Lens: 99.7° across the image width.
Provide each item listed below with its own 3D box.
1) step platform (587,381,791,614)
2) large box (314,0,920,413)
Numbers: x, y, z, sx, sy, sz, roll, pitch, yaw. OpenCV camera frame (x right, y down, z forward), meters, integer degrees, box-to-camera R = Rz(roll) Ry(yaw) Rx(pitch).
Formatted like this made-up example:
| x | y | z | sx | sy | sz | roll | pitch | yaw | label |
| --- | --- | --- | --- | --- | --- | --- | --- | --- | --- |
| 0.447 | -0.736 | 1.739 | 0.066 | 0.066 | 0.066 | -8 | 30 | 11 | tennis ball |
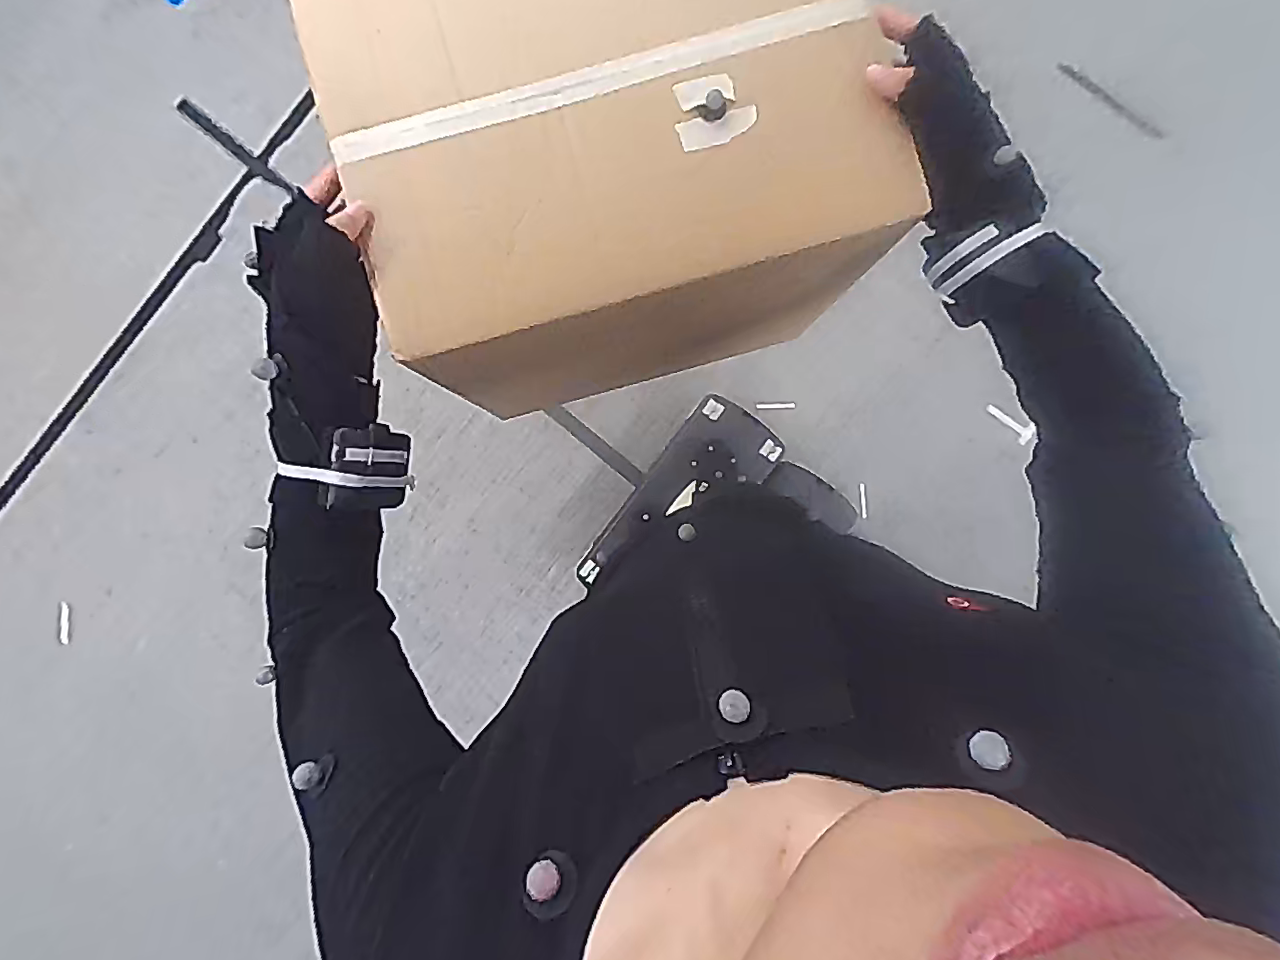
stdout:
| x | y | z | sx | sy | sz | roll | pitch | yaw | label |
| --- | --- | --- | --- | --- | --- | --- | --- | --- | --- |
| 0.140 | 0.049 | 1.585 | 0.286 | 0.204 | 0.684 | 35 | 89 | 2 | step platform |
| -0.023 | -0.290 | 0.554 | 0.408 | 0.320 | 0.320 | -16 | 89 | -2 | large box |
